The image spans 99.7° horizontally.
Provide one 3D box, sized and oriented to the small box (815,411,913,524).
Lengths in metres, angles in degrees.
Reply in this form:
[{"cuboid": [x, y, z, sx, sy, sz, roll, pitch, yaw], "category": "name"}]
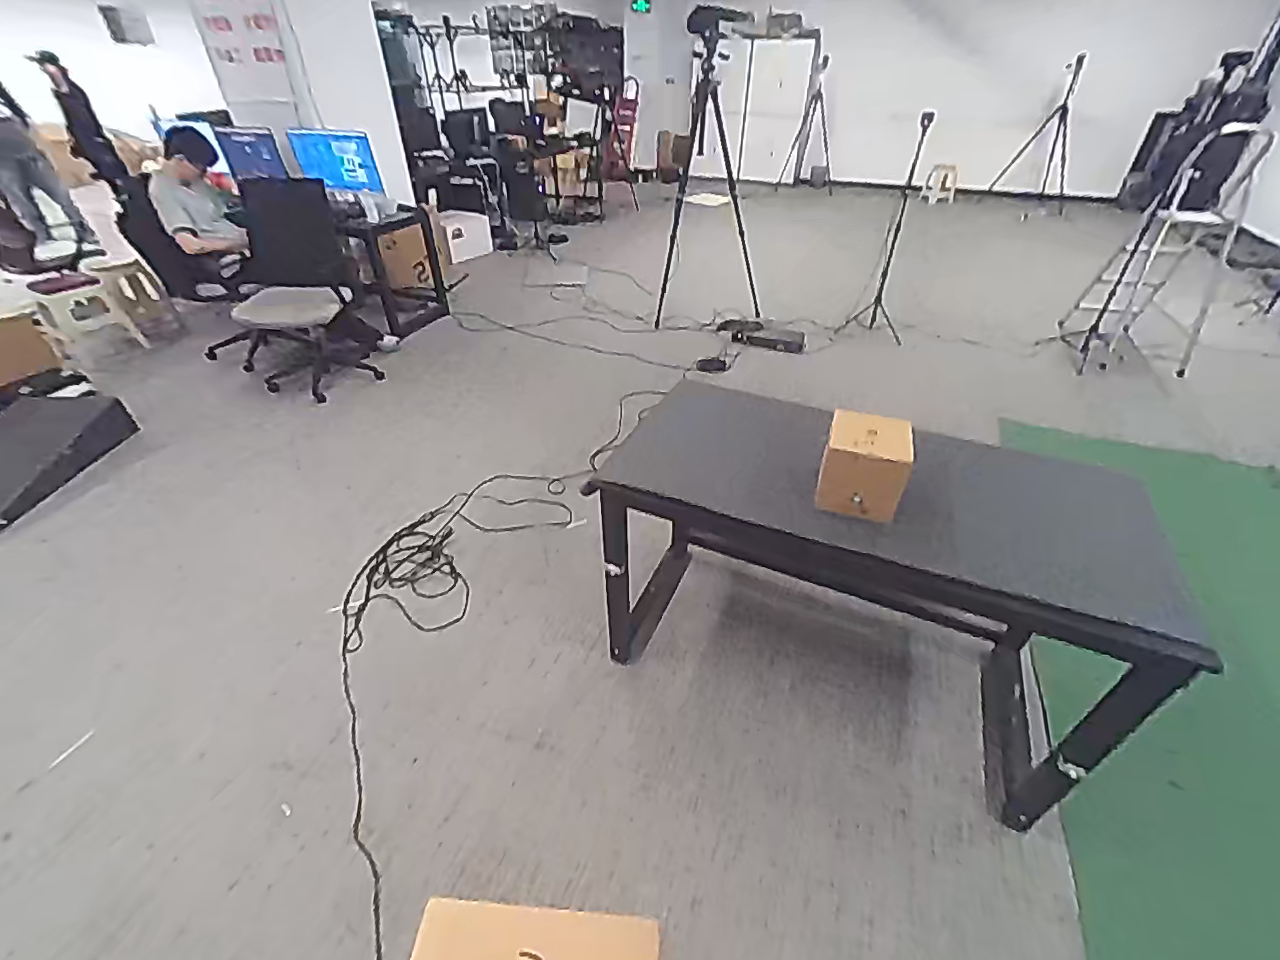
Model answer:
[{"cuboid": [0.498, -0.031, 1.210, 0.168, 0.176, 0.179, 12, 37, 17], "category": "small box"}]
